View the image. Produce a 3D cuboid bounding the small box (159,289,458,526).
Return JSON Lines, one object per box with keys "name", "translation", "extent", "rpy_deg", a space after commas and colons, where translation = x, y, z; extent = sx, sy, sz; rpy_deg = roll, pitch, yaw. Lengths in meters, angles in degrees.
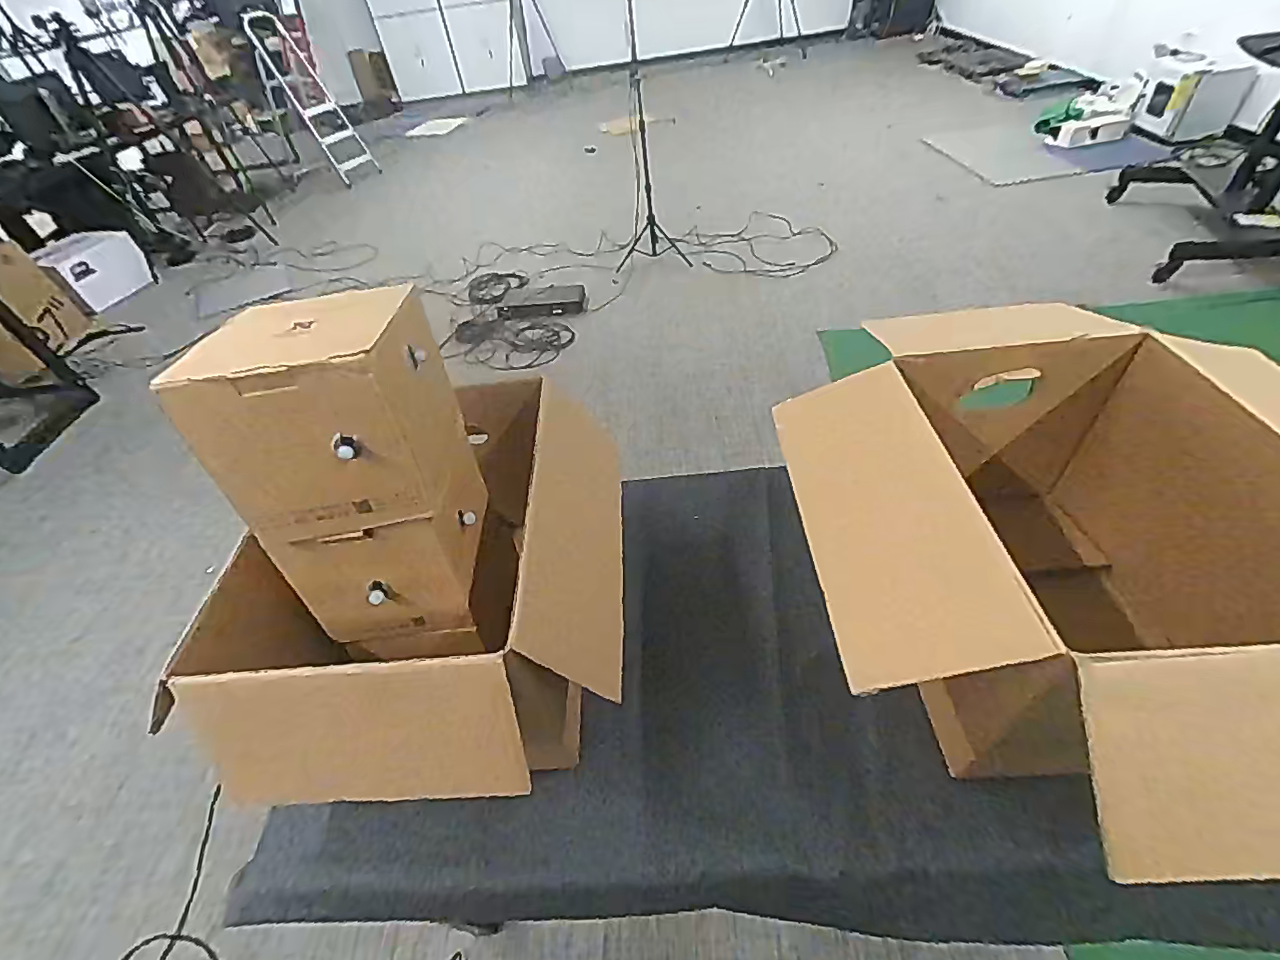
{"name": "small box", "translation": [-0.292, -0.069, 0.532], "extent": [0.168, 0.176, 0.179], "rpy_deg": [-8, 36, -2]}
